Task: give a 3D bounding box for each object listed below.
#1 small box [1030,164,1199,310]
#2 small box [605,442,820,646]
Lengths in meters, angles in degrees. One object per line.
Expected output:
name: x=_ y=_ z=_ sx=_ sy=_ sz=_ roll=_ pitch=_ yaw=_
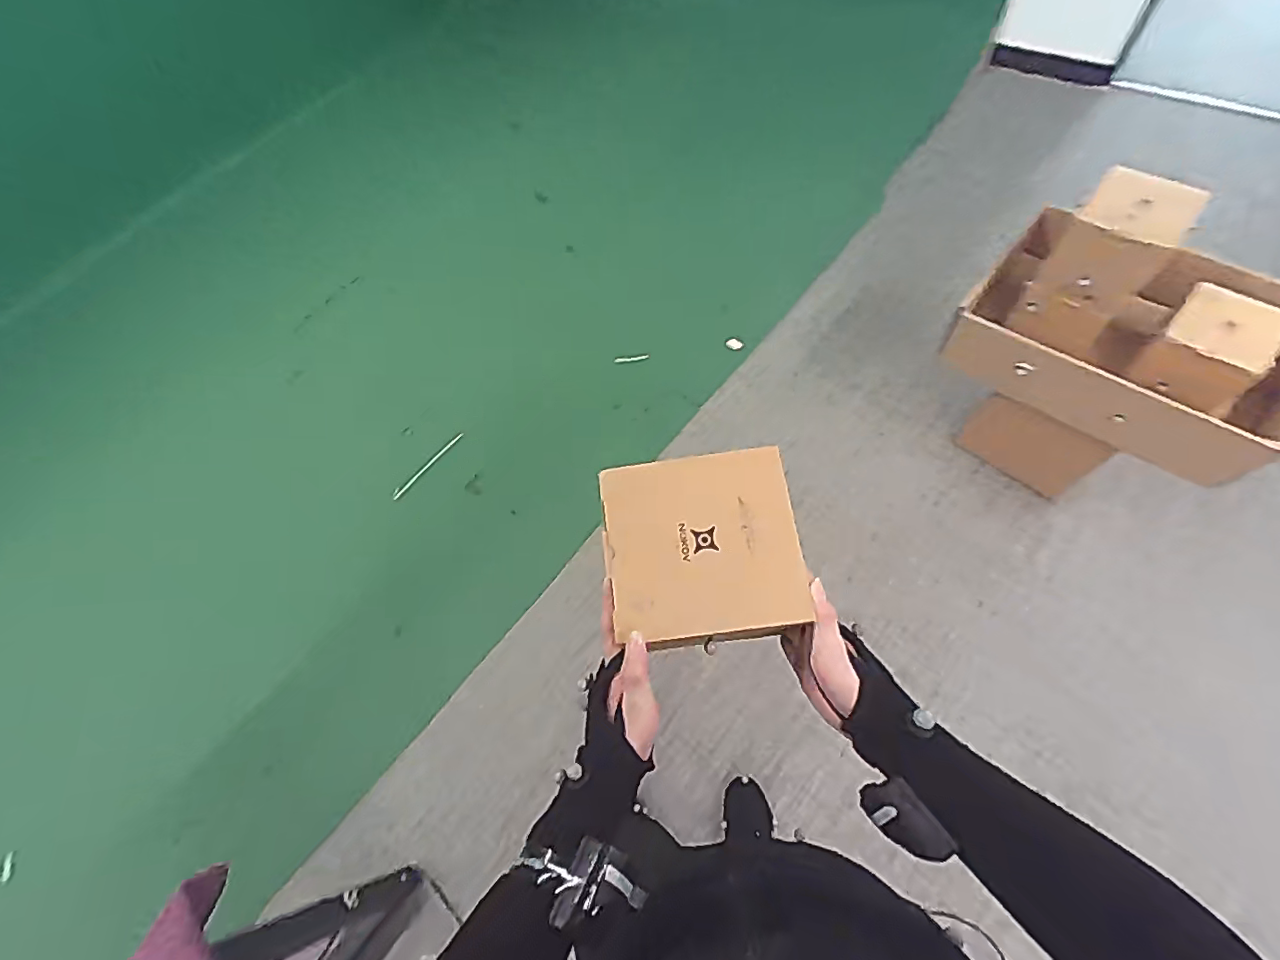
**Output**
small box: x=0.928 y=-0.479 z=1.077 sx=0.168 sy=0.176 sz=0.179 roll=36 pitch=75 yaw=23
small box: x=0.066 y=0.076 z=0.558 sx=0.179 sy=0.176 sz=0.168 roll=-7 pitch=71 yaw=2
